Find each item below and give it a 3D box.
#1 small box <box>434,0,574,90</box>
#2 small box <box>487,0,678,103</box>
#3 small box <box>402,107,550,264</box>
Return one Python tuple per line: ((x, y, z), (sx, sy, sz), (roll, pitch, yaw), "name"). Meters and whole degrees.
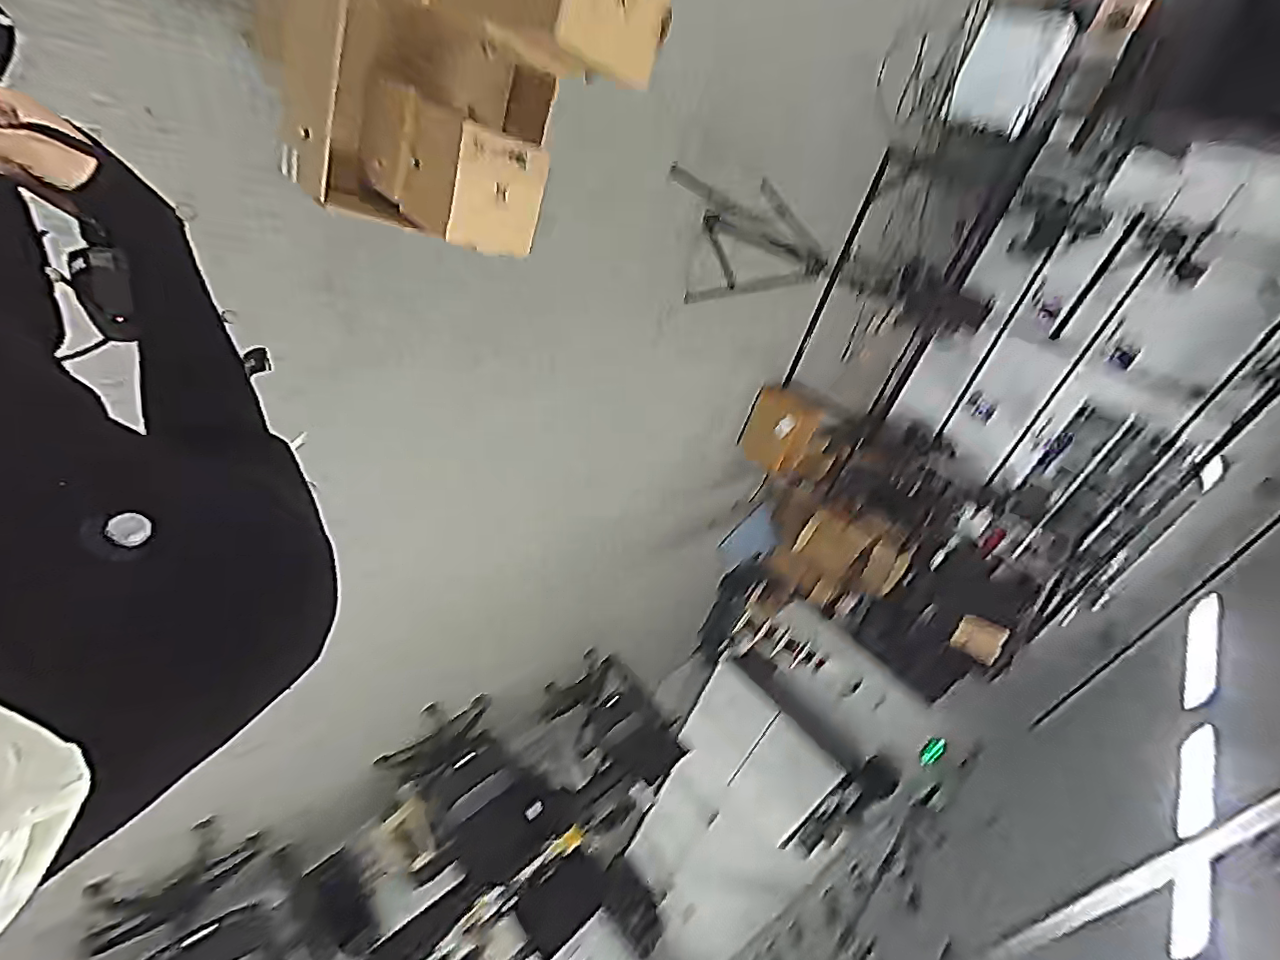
((-0.184, -0.738, 0.813), (0.168, 0.176, 0.179), (-8, 131, -50), "small box")
((-0.074, -0.651, 0.730), (0.179, 0.176, 0.168), (-11, 132, -49), "small box")
((-0.288, -0.501, 0.931), (0.168, 0.176, 0.179), (-11, 132, -48), "small box")
